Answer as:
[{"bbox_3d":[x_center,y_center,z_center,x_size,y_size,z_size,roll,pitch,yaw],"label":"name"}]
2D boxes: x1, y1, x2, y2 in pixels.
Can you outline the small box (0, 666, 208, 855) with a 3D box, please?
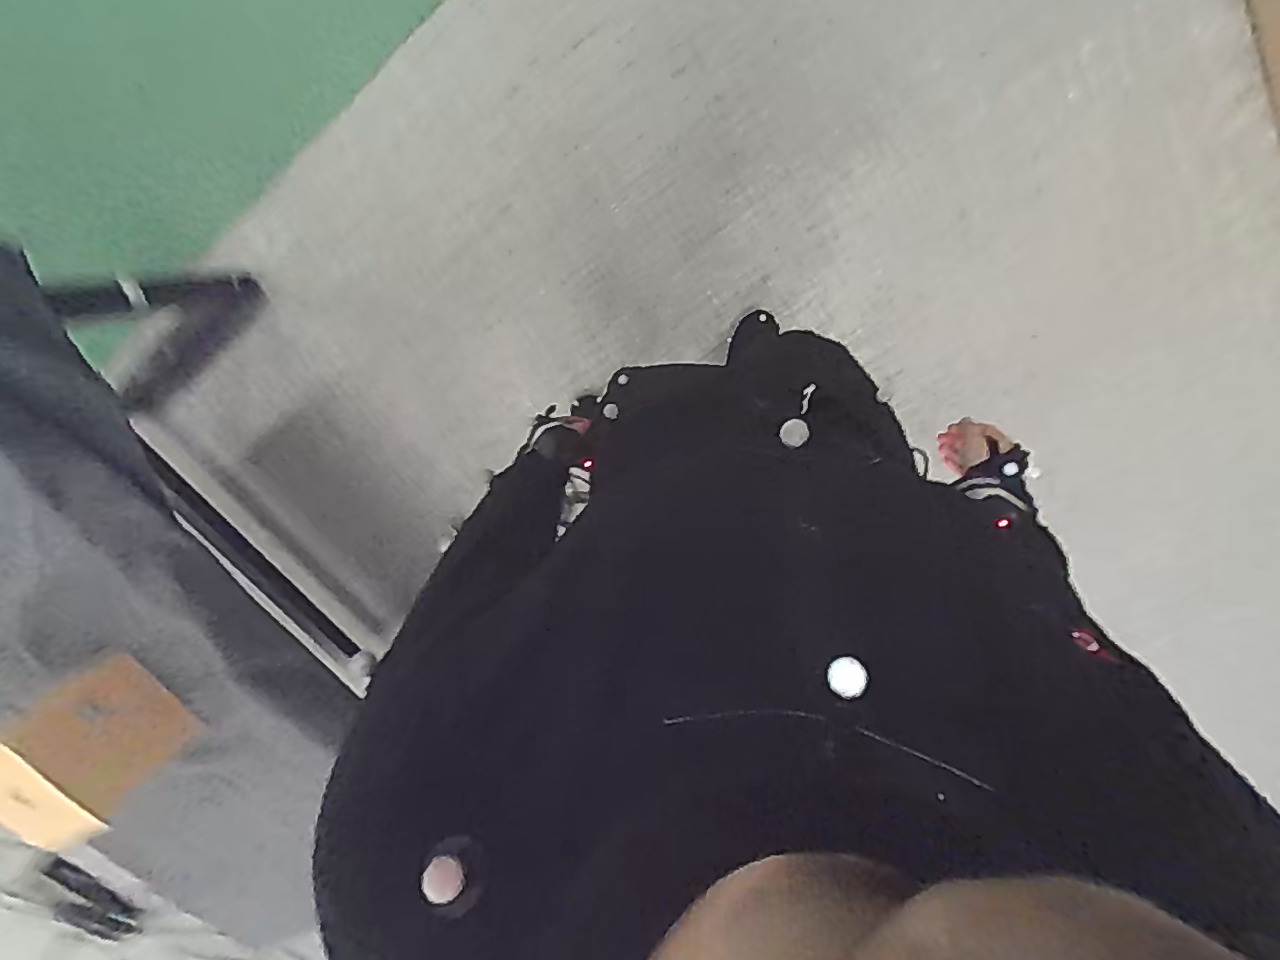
[{"bbox_3d":[-0.810,0.400,0.795,0.168,0.176,0.179,-25,109,17],"label":"small box"}]
